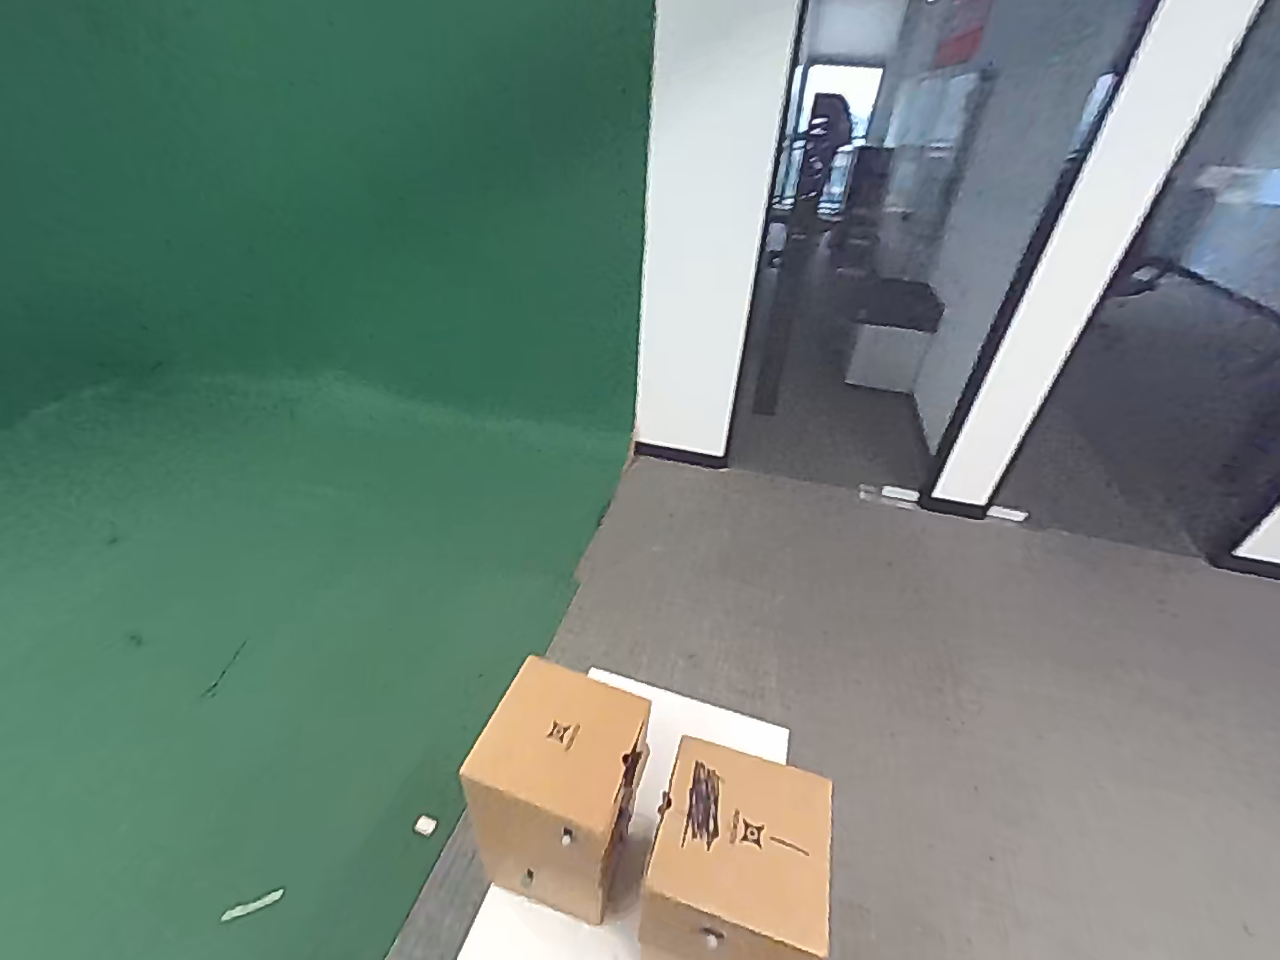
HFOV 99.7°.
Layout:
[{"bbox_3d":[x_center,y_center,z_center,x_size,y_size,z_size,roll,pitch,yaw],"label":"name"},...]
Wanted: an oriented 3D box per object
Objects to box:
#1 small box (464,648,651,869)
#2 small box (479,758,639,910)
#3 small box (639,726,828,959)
[{"bbox_3d":[-0.100,0.355,0.693,0.179,0.176,0.168,16,37,11],"label":"small box"},{"bbox_3d":[-0.112,0.486,0.792,0.179,0.176,0.168,14,37,11],"label":"small box"},{"bbox_3d":[0.103,0.424,0.618,0.179,0.176,0.168,13,37,13],"label":"small box"}]
